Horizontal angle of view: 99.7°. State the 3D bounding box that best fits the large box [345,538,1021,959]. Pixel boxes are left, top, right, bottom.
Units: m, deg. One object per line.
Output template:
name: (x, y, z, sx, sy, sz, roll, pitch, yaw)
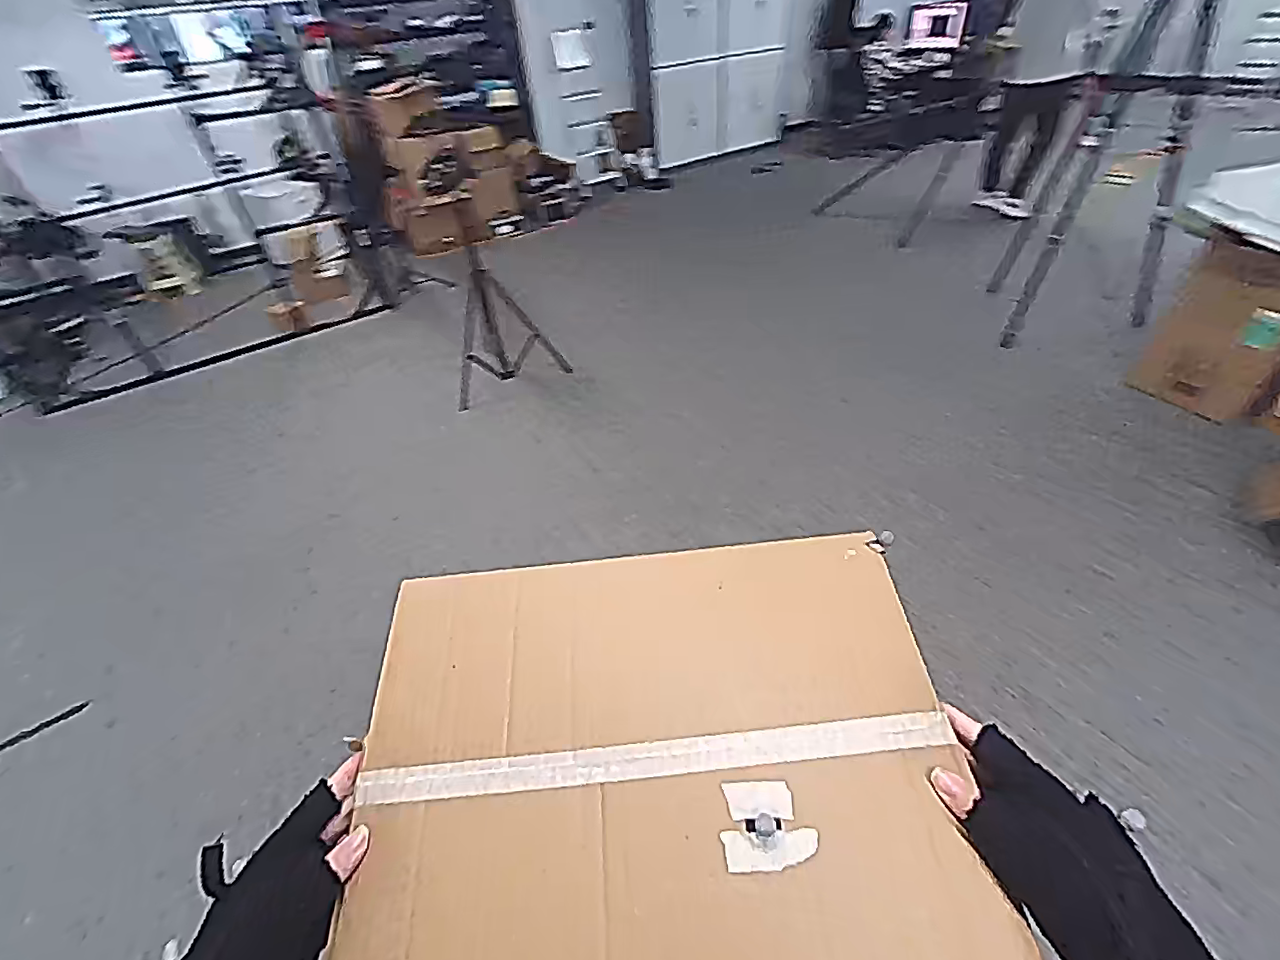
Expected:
large box: (0.015, 0.285, 0.504, 0.408, 0.320, 0.320, -6, 54, -1)
